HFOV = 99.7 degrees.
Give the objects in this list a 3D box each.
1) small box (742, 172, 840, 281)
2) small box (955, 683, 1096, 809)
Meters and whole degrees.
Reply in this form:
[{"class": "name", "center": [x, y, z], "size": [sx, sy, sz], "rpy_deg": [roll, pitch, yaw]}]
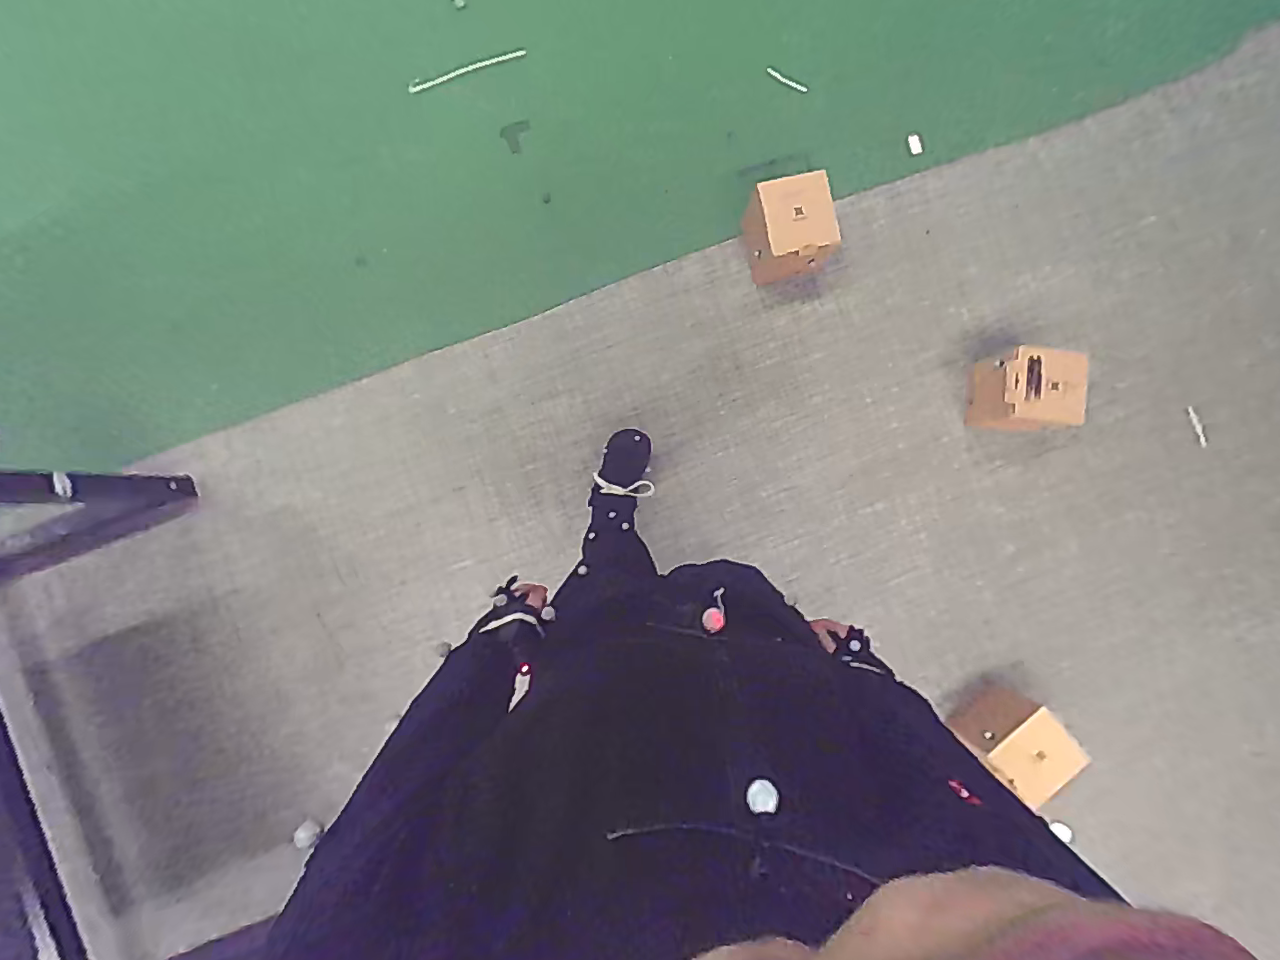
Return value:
[{"class": "small box", "center": [0.359, -0.603, 1.313], "size": [0.168, 0.176, 0.179], "rpy_deg": [-13, 88, -3]}, {"class": "small box", "center": [0.904, 0.619, 1.285], "size": [0.179, 0.176, 0.168], "rpy_deg": [-41, 89, -1]}]
